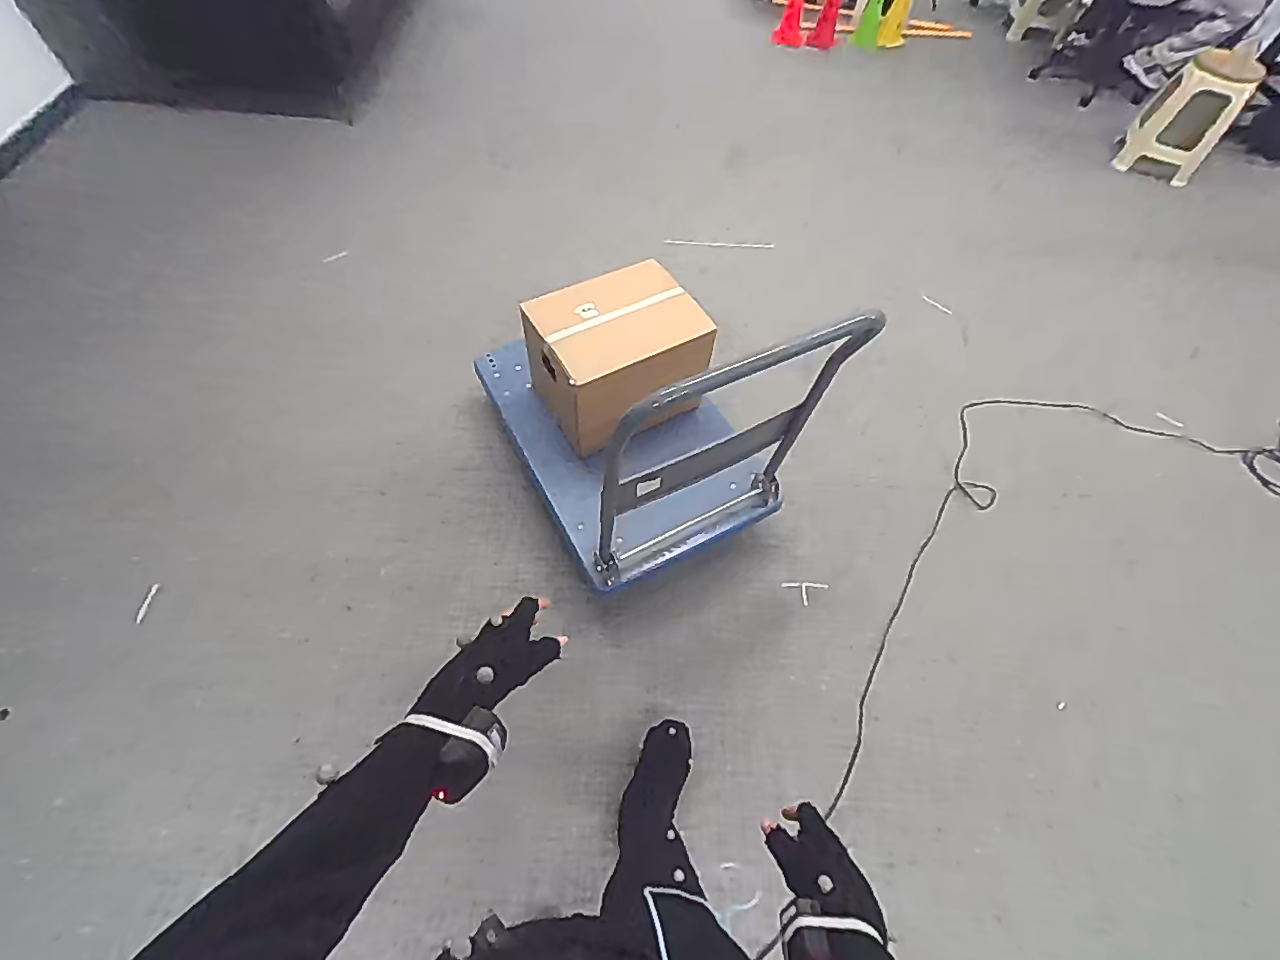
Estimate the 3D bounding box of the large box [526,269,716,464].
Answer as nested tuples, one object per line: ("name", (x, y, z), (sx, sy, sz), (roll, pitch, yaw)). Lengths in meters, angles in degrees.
("large box", (-0.055, -0.312, 1.503), (0.408, 0.320, 0.320), (-27, 63, -18))
